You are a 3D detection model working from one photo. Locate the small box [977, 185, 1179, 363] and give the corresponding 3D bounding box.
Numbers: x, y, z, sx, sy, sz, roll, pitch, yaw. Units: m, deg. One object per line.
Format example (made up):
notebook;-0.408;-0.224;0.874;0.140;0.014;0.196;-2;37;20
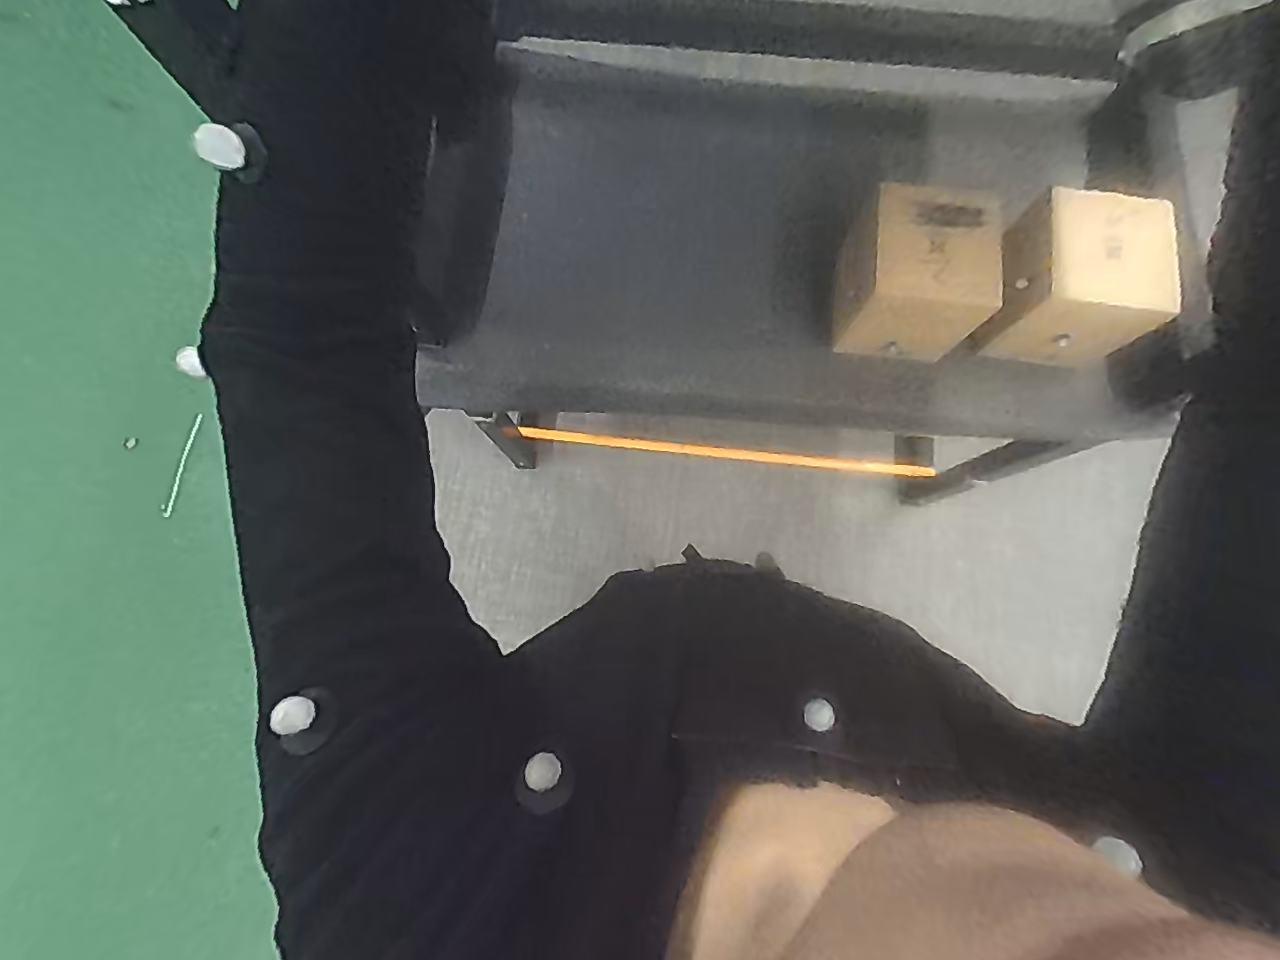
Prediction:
small box;0.626;-0.291;0.795;0.168;0.176;0.179;9;76;2
